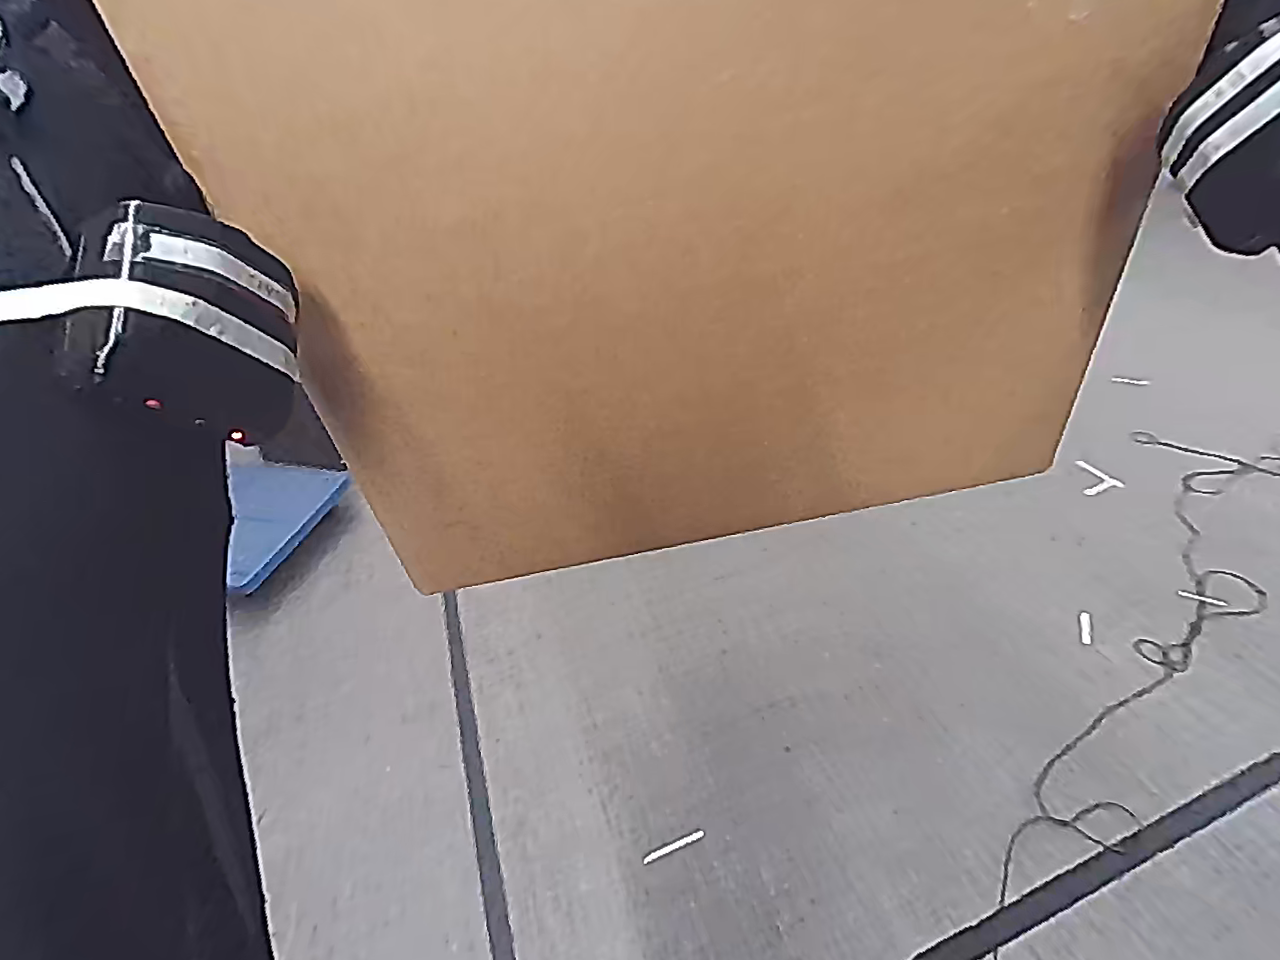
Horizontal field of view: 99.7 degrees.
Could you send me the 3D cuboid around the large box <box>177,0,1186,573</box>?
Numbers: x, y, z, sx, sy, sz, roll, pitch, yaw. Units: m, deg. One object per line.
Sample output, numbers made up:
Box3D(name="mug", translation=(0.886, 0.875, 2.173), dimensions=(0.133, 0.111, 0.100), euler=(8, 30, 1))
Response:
Box3D(name="large box", translation=(0.026, -0.178, 0.384), dimensions=(0.408, 0.320, 0.320), euler=(-10, 35, -3))
